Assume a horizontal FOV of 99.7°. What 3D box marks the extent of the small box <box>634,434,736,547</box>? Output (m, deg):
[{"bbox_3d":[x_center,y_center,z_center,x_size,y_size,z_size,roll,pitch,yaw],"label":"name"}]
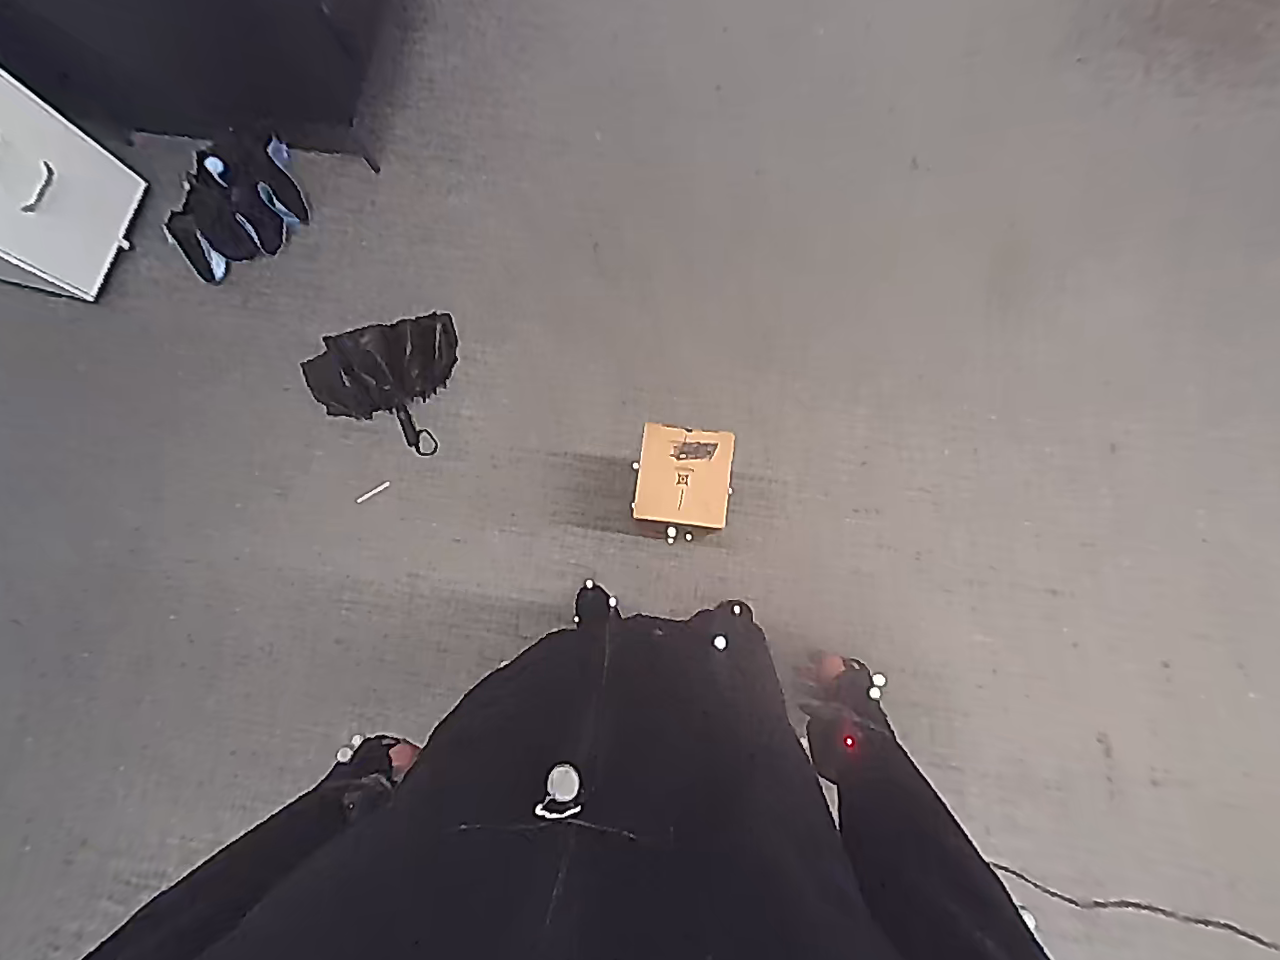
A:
[{"bbox_3d":[0.081,0.027,1.032,0.168,0.176,0.179,7,80,3],"label":"small box"}]
